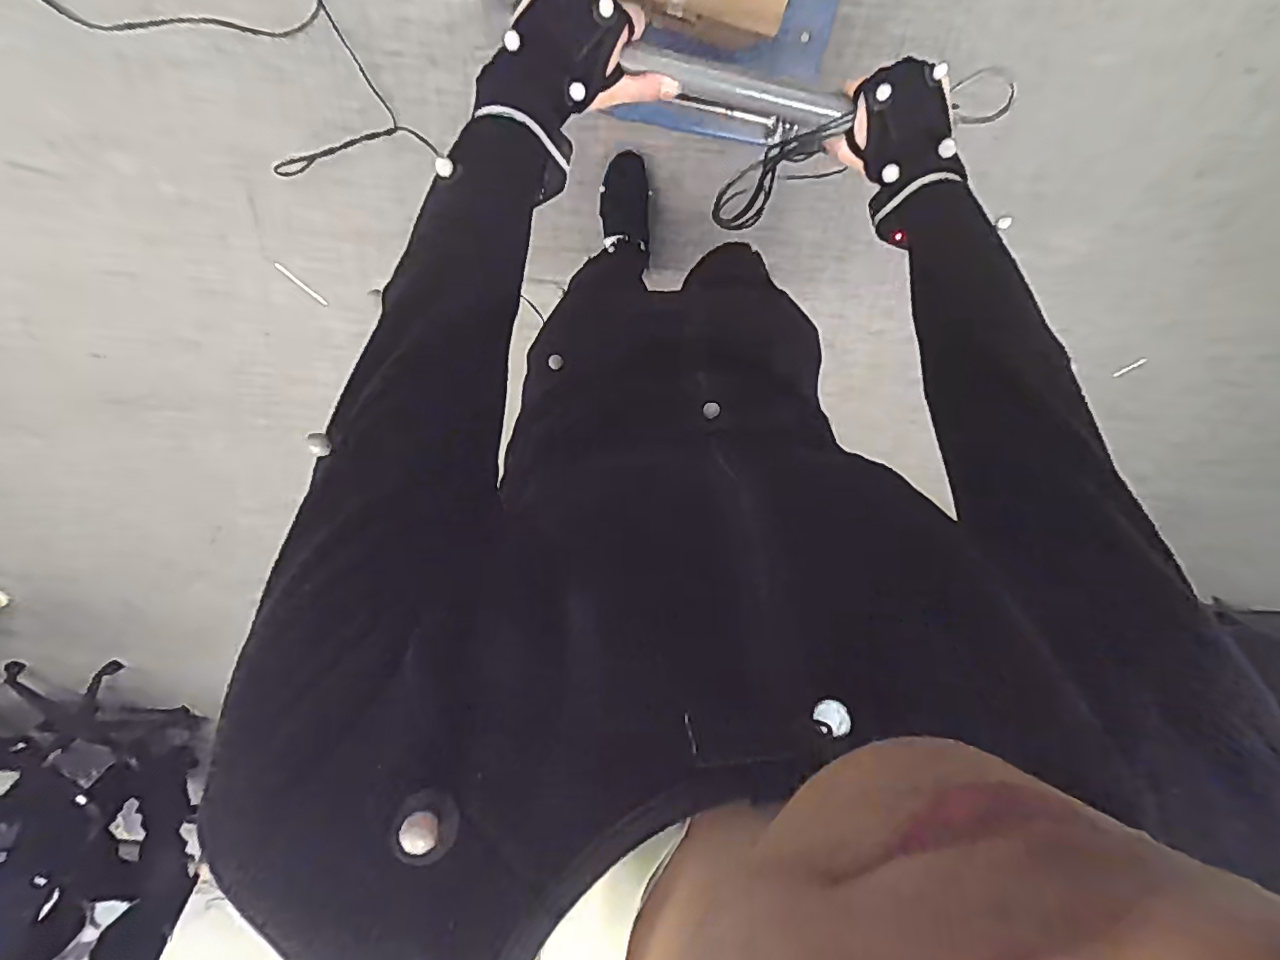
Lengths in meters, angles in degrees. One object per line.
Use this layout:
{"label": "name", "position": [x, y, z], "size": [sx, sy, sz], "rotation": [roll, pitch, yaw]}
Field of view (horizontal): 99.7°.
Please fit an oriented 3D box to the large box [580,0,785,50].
{"label": "large box", "position": [0.084, -0.918, 0.782], "size": [0.320, 0.320, 0.408], "rotation": [9, 124, -10]}
